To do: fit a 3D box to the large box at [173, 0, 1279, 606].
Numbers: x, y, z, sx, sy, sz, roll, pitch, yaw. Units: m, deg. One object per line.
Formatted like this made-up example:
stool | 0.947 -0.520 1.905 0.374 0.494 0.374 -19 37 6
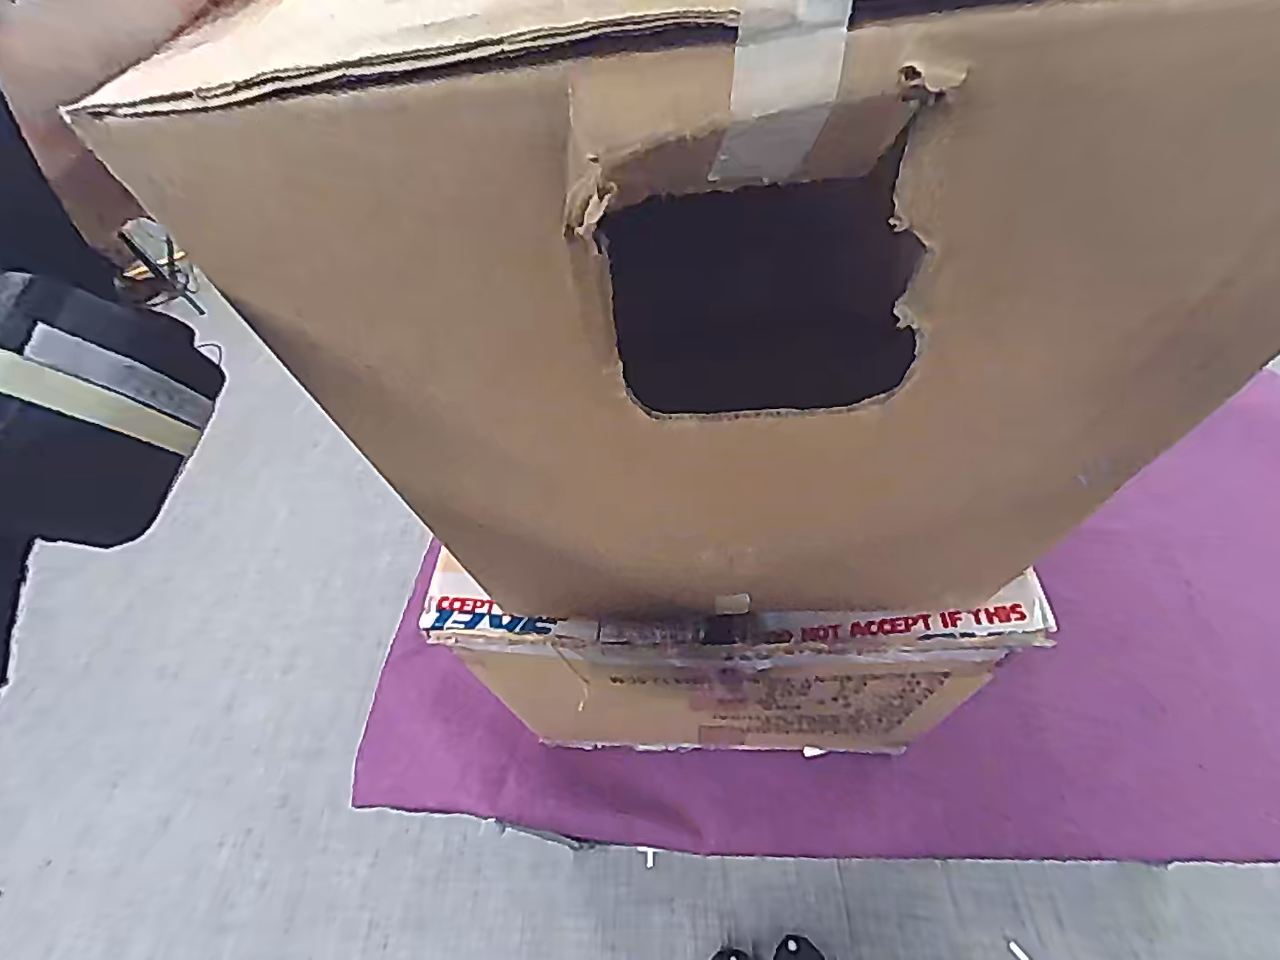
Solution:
large box | 0.053 -0.166 0.346 0.320 0.320 0.408 -4 56 6
